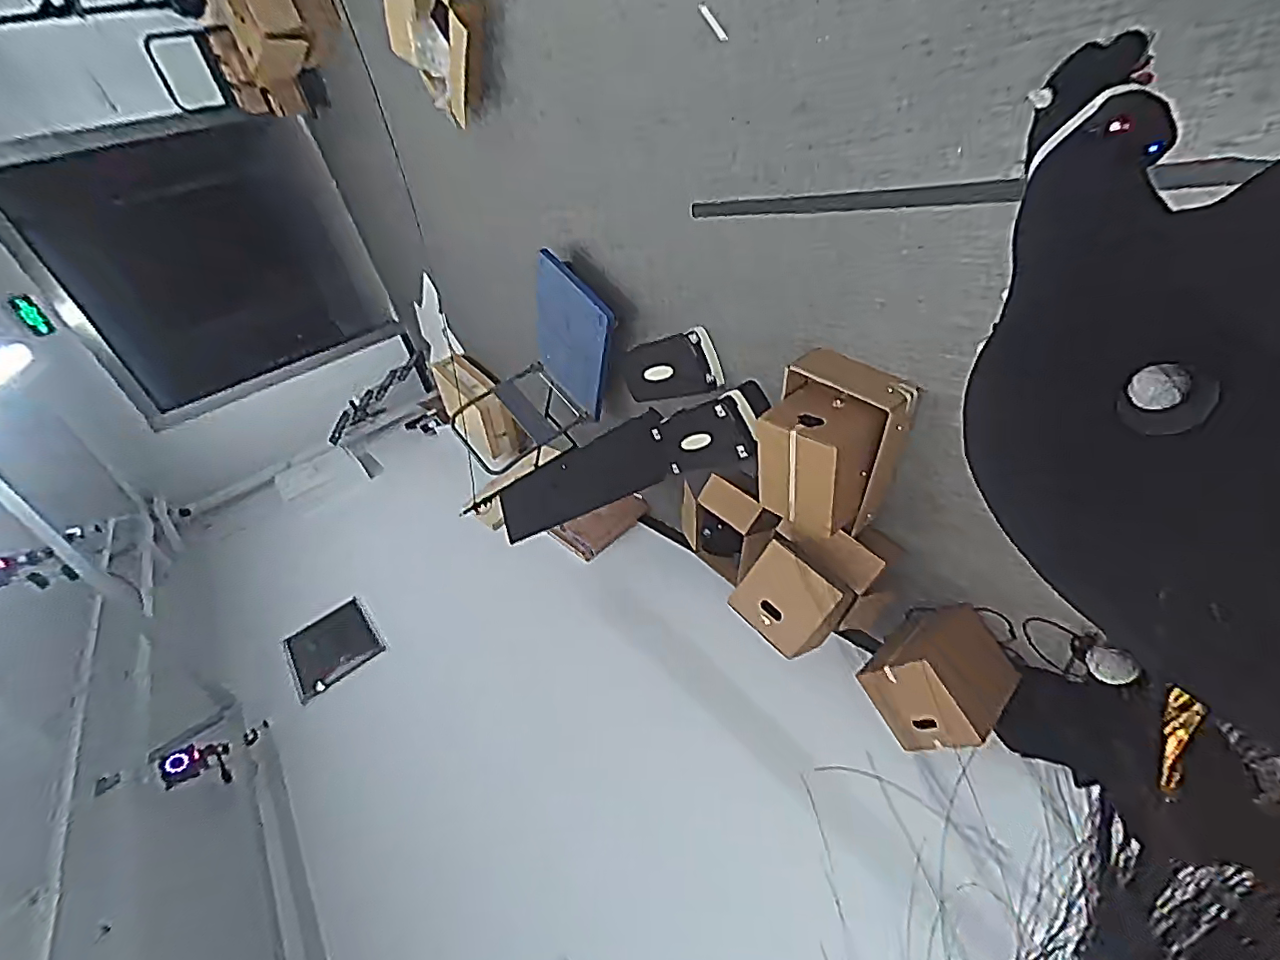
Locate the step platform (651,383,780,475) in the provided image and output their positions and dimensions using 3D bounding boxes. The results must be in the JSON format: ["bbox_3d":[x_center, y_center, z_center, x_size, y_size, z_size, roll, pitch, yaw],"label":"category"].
[{"bbox_3d":[0.321,-0.216,2.528,0.286,0.204,0.684,60,152,-8],"label":"step platform"}]
